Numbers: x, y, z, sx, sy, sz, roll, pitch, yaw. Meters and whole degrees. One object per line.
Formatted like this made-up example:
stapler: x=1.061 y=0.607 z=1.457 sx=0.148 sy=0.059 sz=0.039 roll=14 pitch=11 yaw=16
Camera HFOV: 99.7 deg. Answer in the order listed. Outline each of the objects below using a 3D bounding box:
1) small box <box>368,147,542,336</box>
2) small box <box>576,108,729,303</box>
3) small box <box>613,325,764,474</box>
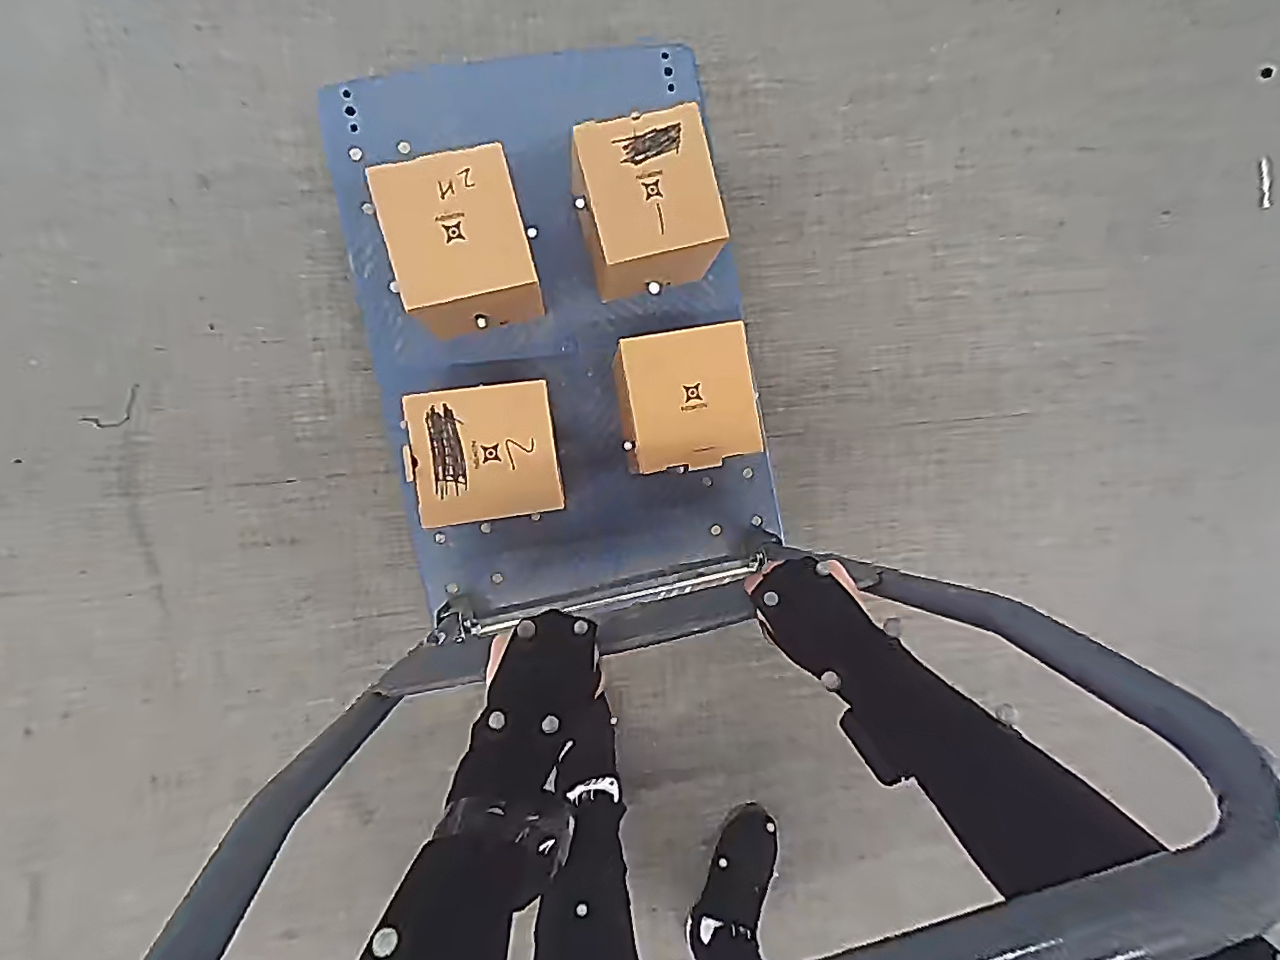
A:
small box: x=-0.234 y=-0.304 z=0.732 sx=0.168 sy=0.176 sz=0.179 roll=-15 pitch=93 yaw=-7
small box: x=0.008 y=-0.371 z=0.758 sx=0.168 sy=0.176 sz=0.179 roll=-15 pitch=94 yaw=-5
small box: x=0.059 y=-0.105 z=0.773 sx=0.168 sy=0.176 sz=0.179 roll=-10 pitch=93 yaw=-6
